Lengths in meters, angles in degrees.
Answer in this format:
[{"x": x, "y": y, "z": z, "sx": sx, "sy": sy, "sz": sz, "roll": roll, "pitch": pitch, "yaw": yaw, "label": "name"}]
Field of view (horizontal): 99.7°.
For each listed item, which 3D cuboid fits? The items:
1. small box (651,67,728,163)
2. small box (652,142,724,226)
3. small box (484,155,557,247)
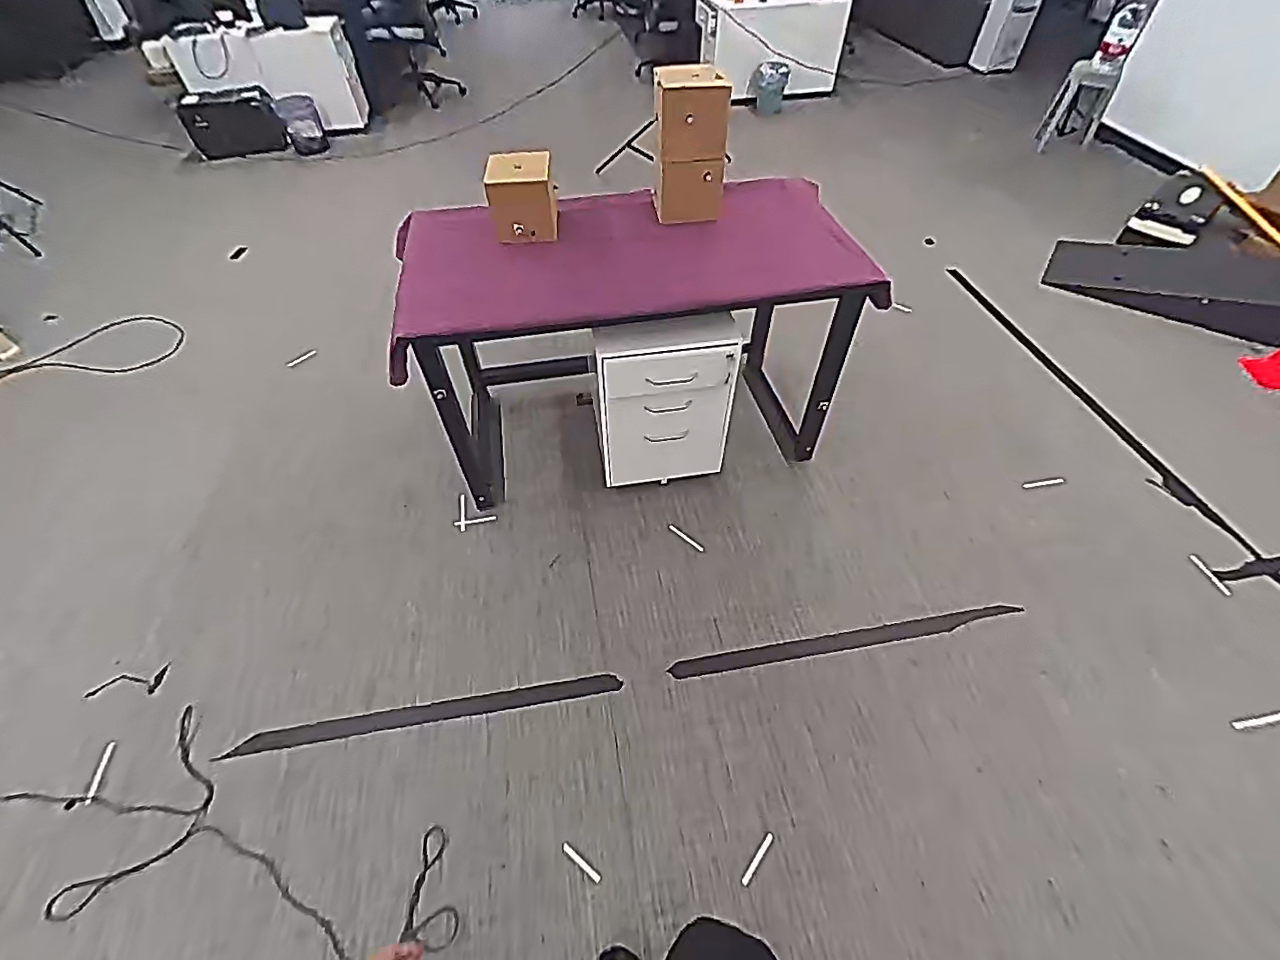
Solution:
[{"x": 0.127, "y": -0.955, "z": 1.423, "sx": 0.179, "sy": 0.176, "sz": 0.168, "roll": -6, "pitch": 52, "yaw": -2, "label": "small box"}, {"x": 0.131, "y": -0.852, "z": 1.550, "sx": 0.179, "sy": 0.176, "sz": 0.168, "roll": -6, "pitch": 52, "yaw": -4, "label": "small box"}, {"x": -0.322, "y": -0.767, "z": 1.490, "sx": 0.168, "sy": 0.176, "sz": 0.179, "roll": -5, "pitch": 53, "yaw": -2, "label": "small box"}]
